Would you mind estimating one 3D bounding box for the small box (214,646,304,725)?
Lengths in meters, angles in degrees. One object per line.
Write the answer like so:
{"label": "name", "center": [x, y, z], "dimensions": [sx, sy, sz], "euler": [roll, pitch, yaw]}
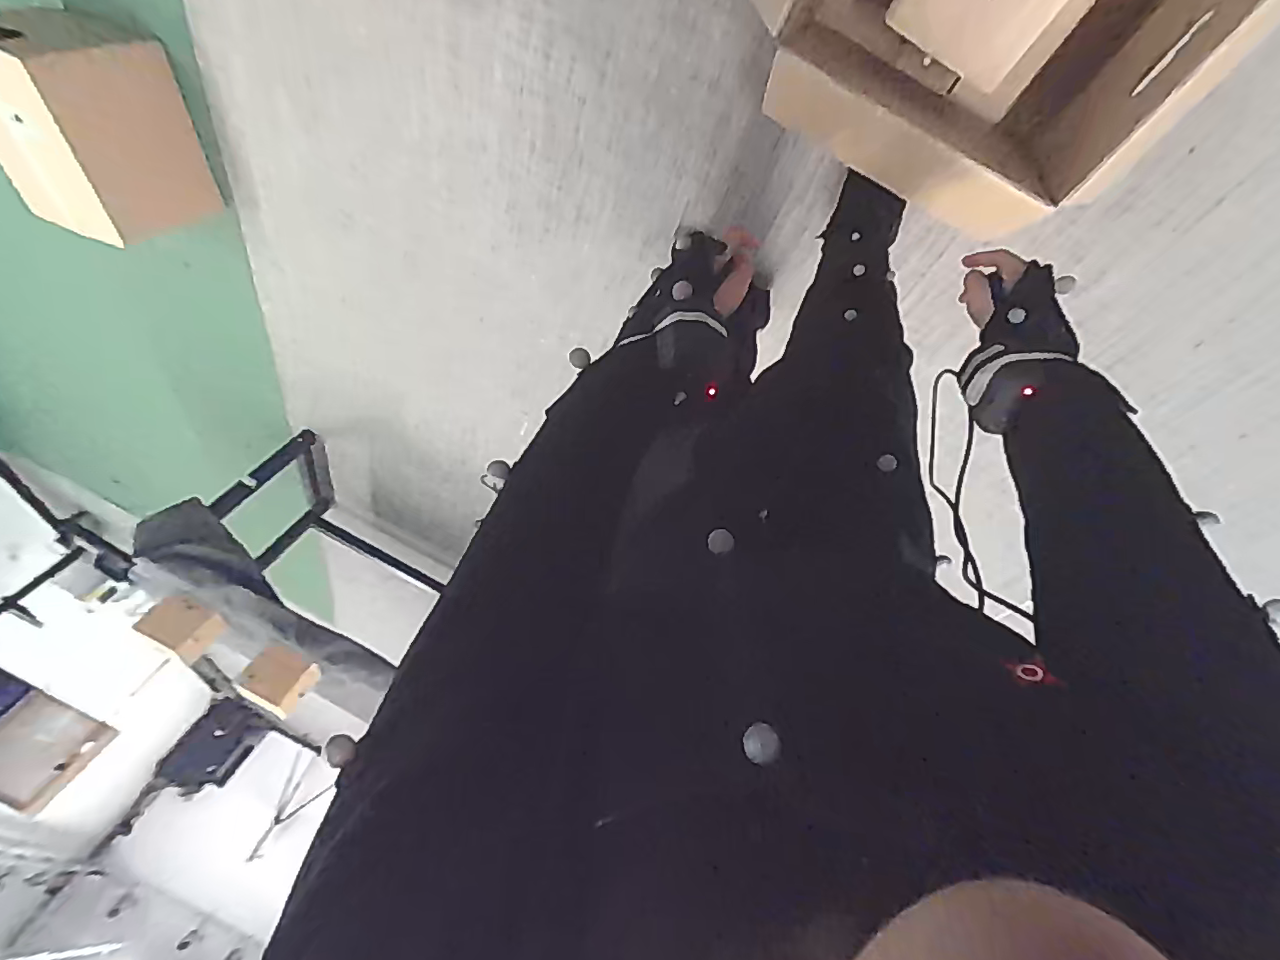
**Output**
{"label": "small box", "center": [-1.263, 0.687, 1.813], "dimensions": [0.179, 0.176, 0.168], "euler": [29, 138, -1]}
